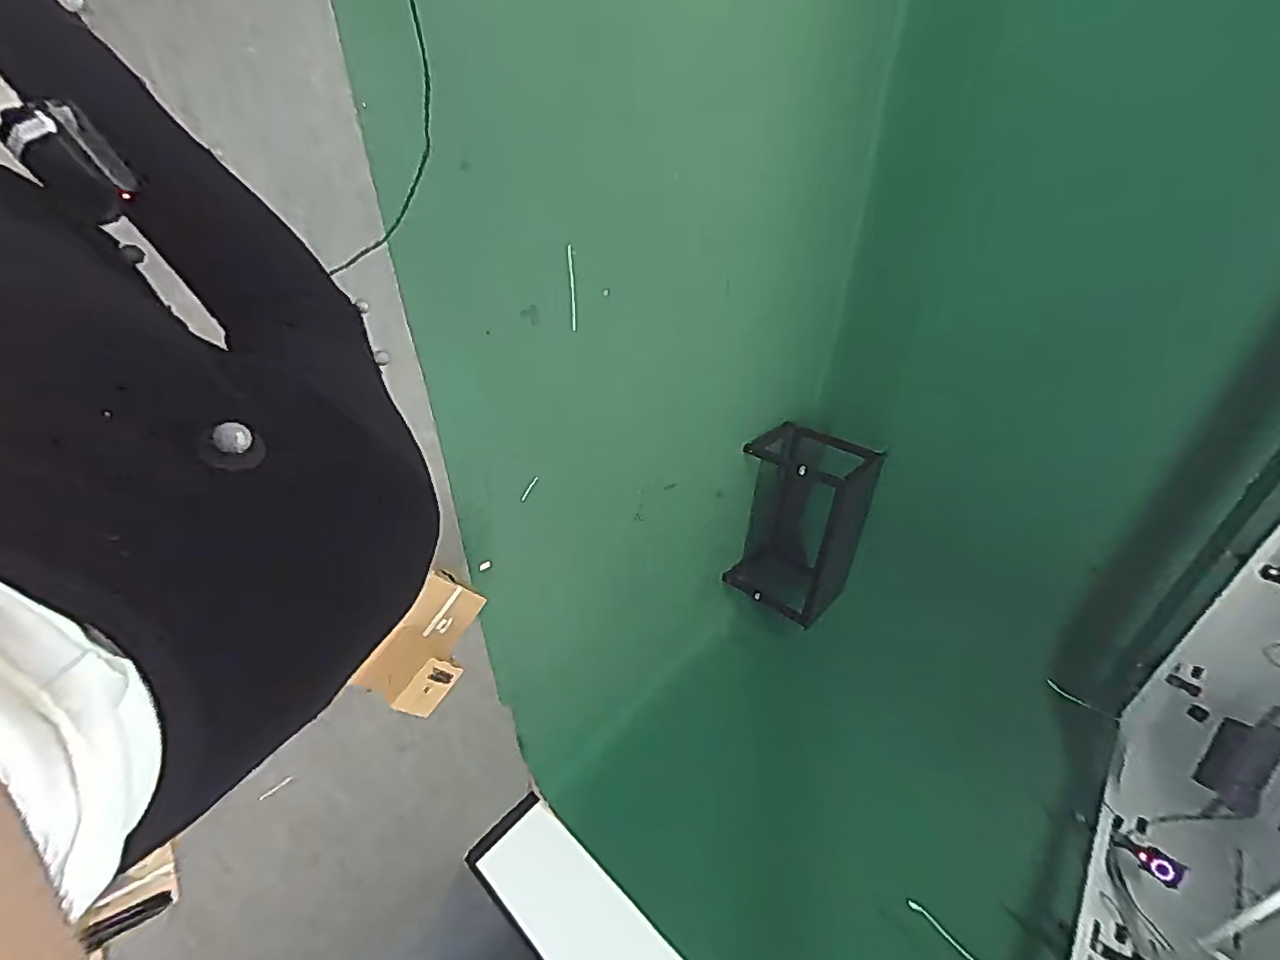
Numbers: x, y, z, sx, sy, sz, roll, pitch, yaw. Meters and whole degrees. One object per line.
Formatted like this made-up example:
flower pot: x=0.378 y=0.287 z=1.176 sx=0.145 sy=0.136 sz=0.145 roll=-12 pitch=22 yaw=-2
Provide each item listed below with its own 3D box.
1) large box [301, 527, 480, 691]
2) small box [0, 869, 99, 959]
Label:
large box: x=-0.842 y=0.439 z=1.841 sx=0.408 sy=0.320 sz=0.320 roll=-56 pitch=146 yaw=-12
small box: x=-1.310 y=1.014 z=1.180 sx=0.168 sy=0.176 sz=0.179 roll=-9 pitch=118 yaw=-50
